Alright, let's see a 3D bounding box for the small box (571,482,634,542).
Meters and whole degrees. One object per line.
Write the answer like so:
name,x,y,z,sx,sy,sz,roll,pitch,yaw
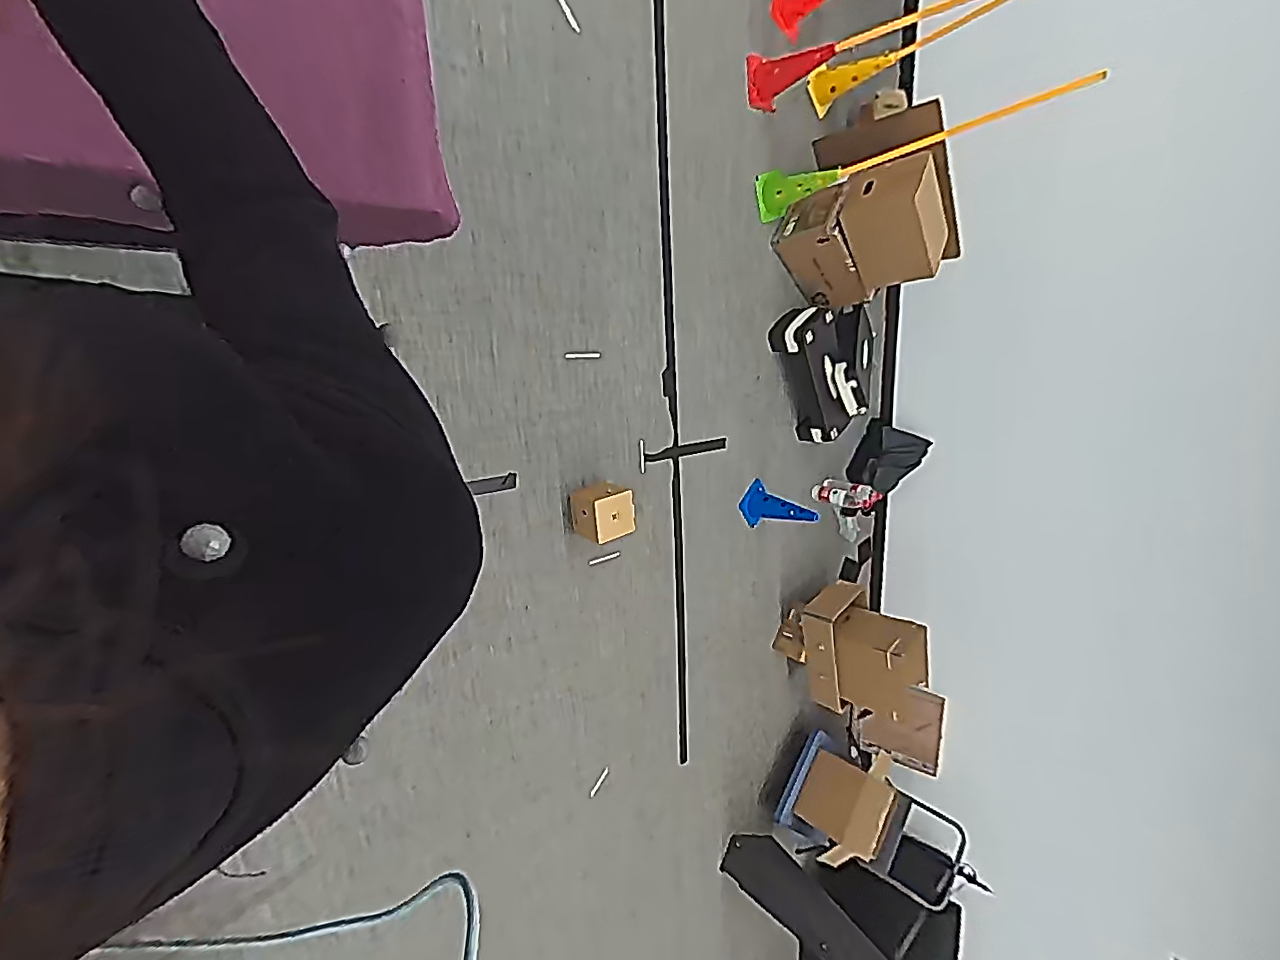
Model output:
small box,-0.145,0.115,2.021,0.179,0.176,0.168,-18,110,-39
